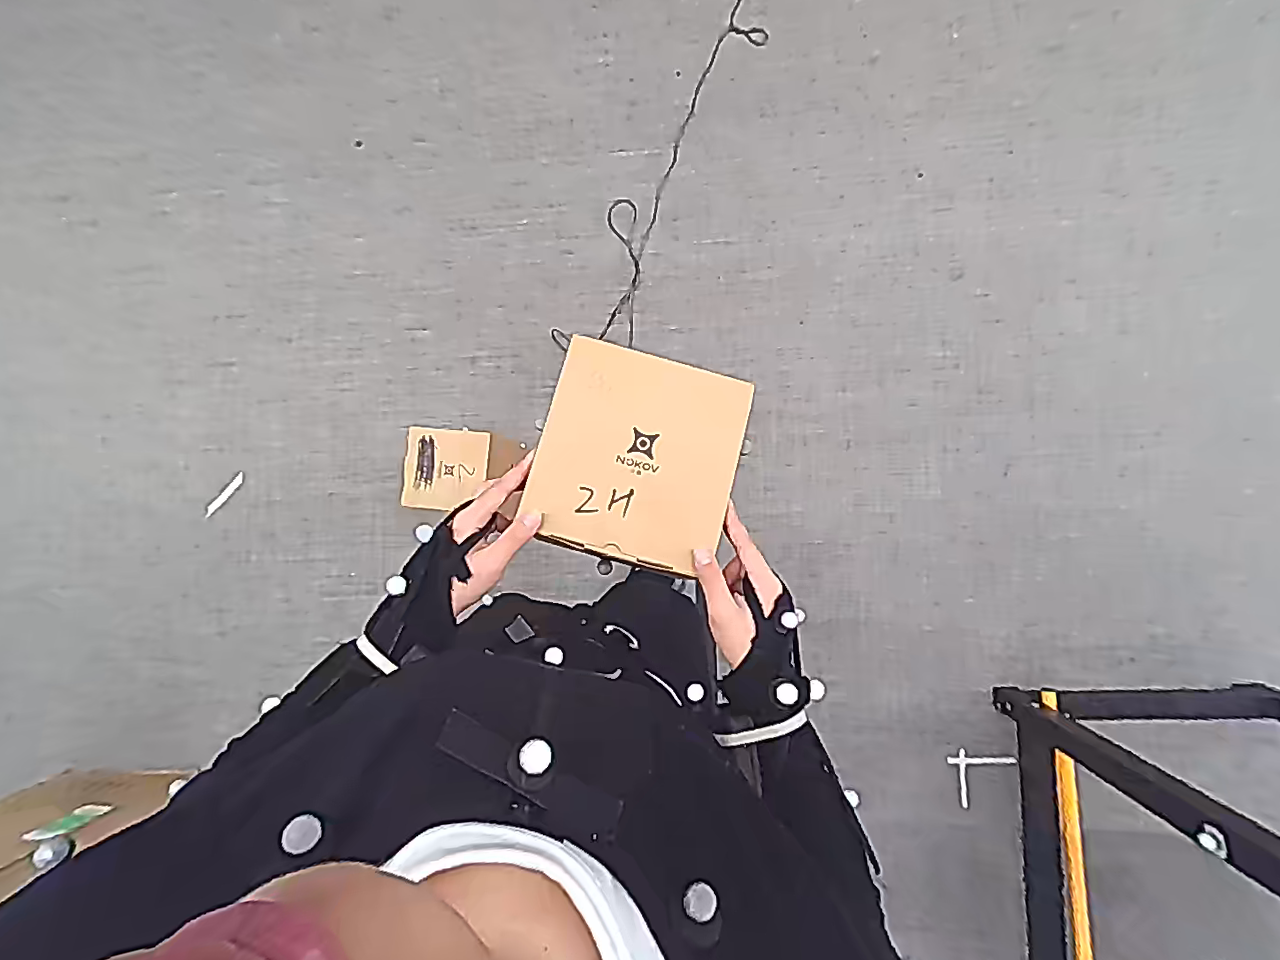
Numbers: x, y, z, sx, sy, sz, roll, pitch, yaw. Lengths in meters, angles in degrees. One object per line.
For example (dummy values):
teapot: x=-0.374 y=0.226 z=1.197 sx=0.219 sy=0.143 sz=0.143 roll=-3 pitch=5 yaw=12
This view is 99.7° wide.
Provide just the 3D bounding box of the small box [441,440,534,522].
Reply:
small box: x=-0.362 y=0.004 z=1.318 sx=0.168 sy=0.176 sz=0.179 roll=6 pitch=89 yaw=6

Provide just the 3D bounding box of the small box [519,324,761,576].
small box: x=-0.003 y=-0.014 z=0.517 sx=0.168 sy=0.176 sz=0.179 roll=16 pitch=79 yaw=-1
